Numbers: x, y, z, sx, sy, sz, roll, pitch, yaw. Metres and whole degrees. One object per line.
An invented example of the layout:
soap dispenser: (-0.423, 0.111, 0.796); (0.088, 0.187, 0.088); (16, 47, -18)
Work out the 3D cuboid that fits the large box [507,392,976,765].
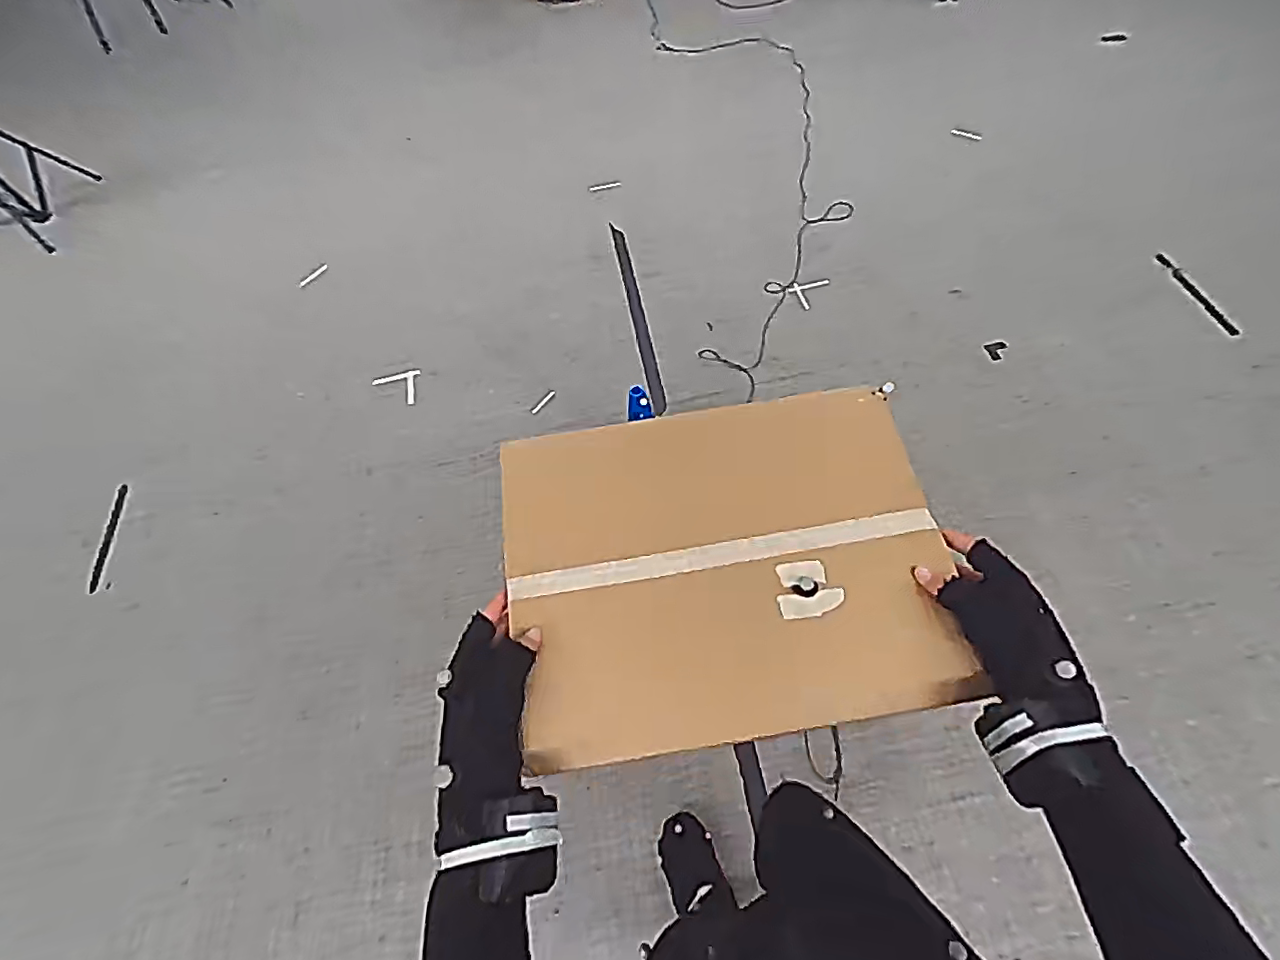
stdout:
large box: (0.081, 0.134, 0.659); (0.408, 0.320, 0.320); (-9, 66, -1)
